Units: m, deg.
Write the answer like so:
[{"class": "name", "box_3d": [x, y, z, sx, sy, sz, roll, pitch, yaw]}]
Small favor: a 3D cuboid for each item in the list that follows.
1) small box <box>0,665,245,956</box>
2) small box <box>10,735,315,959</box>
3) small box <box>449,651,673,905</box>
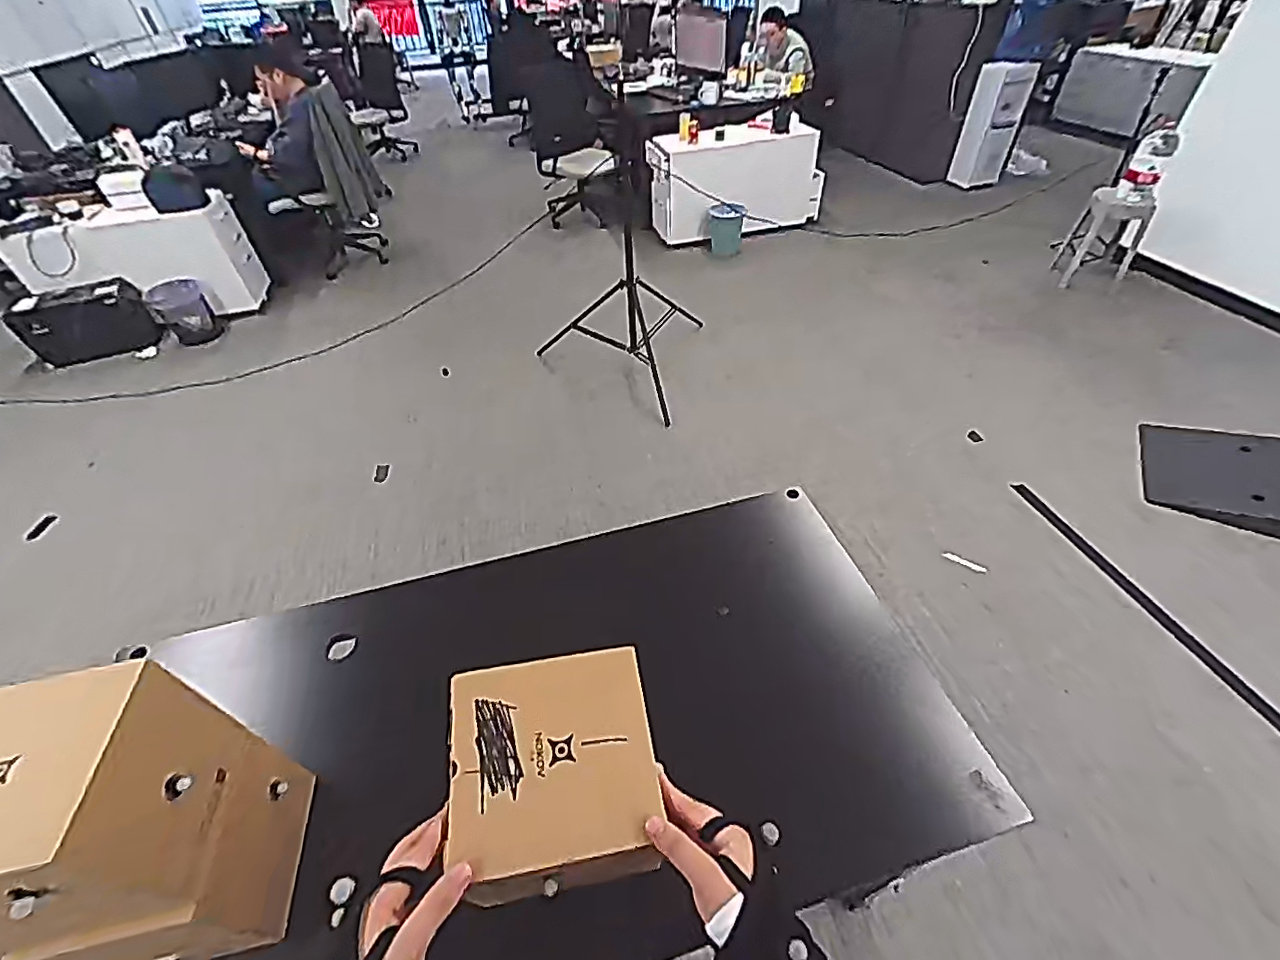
[{"class": "small box", "box_3d": [-0.510, 0.298, 0.490, 0.179, 0.176, 0.168, -12, 44, -6]}, {"class": "small box", "box_3d": [-0.494, 0.420, 0.602, 0.168, 0.176, 0.179, -12, 46, -6]}, {"class": "small box", "box_3d": [-0.073, 0.290, 0.524, 0.179, 0.176, 0.168, -7, 50, -8]}]
